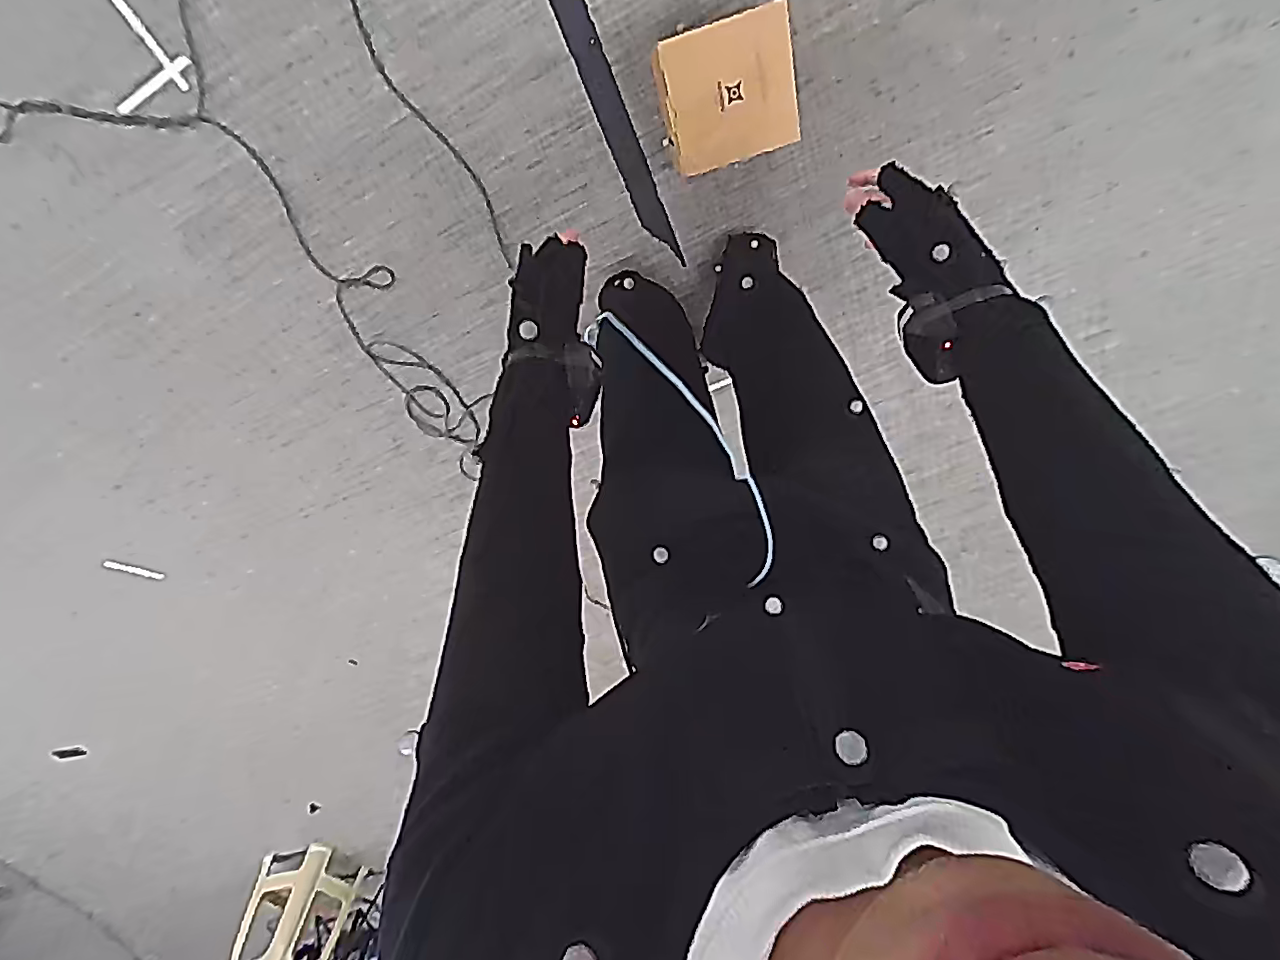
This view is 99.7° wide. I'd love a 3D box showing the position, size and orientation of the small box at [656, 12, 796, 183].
[{"bbox_3d":[0.125,-0.576,0.830,0.179,0.176,0.168,-14,124,7],"label":"small box"}]
